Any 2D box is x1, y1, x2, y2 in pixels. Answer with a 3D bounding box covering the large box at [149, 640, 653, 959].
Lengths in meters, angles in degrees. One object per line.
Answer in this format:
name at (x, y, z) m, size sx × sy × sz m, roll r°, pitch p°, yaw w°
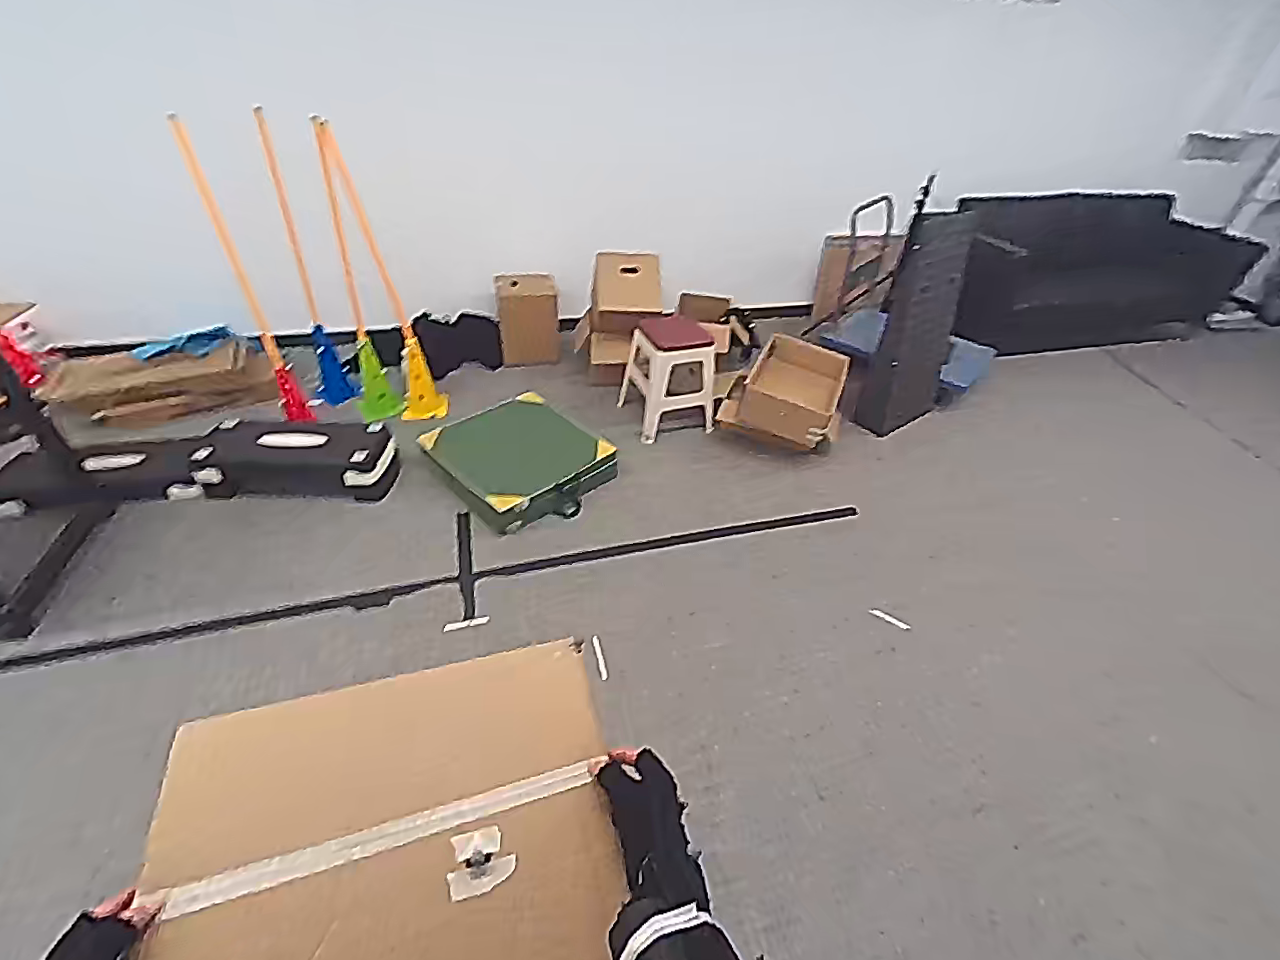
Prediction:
large box at (-0.240, 0.439, 0.621) m, size 0.408 × 0.320 × 0.320 m, roll -7°, pitch 46°, yaw -19°
